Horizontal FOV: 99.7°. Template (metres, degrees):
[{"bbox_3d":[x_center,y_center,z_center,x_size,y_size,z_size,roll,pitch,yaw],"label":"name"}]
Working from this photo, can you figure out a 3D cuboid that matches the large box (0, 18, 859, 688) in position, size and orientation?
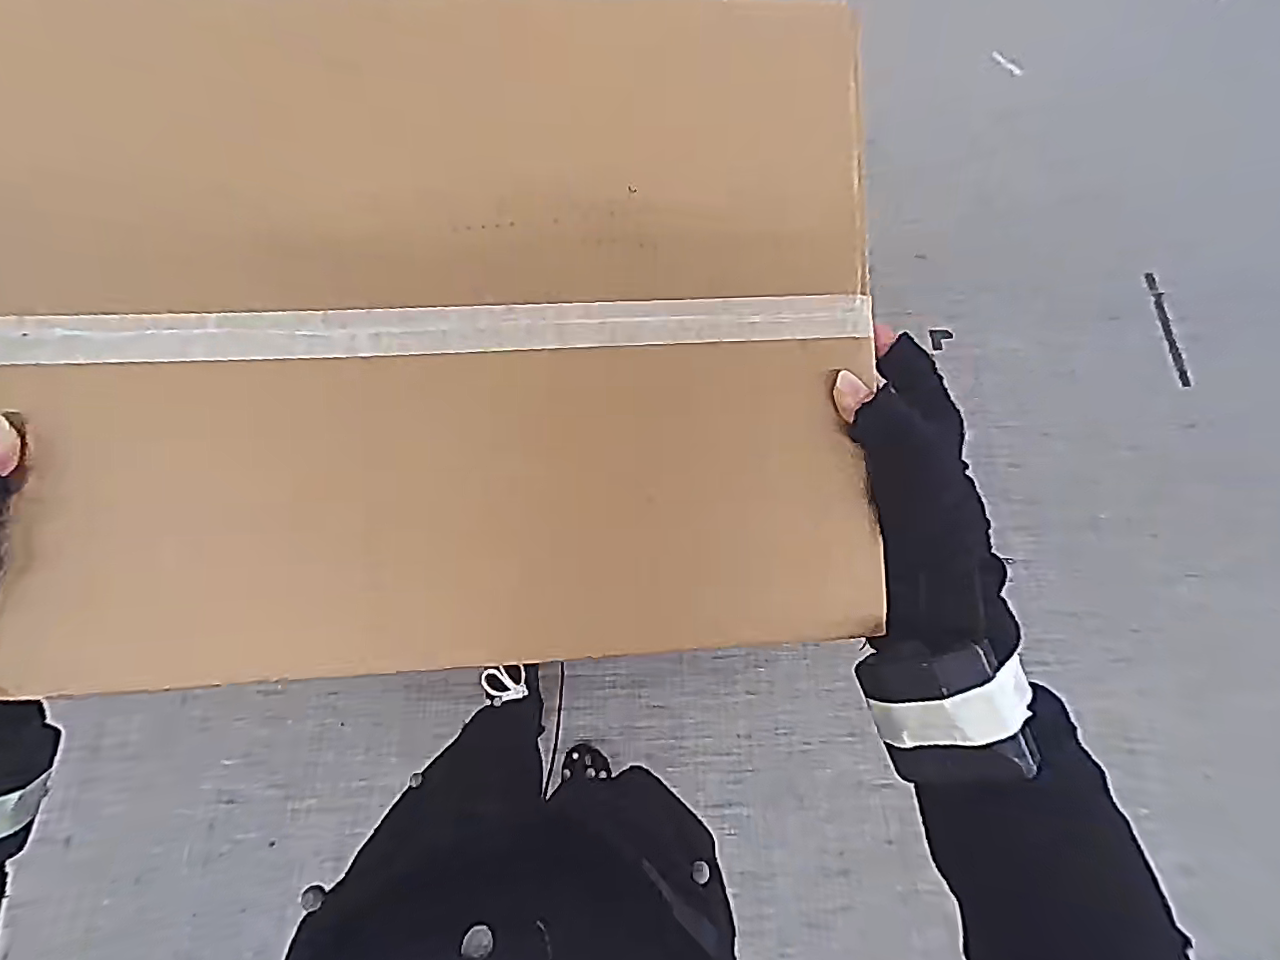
[{"bbox_3d":[-0.101,-0.069,0.411,0.408,0.320,0.320,-3,90,-5],"label":"large box"}]
